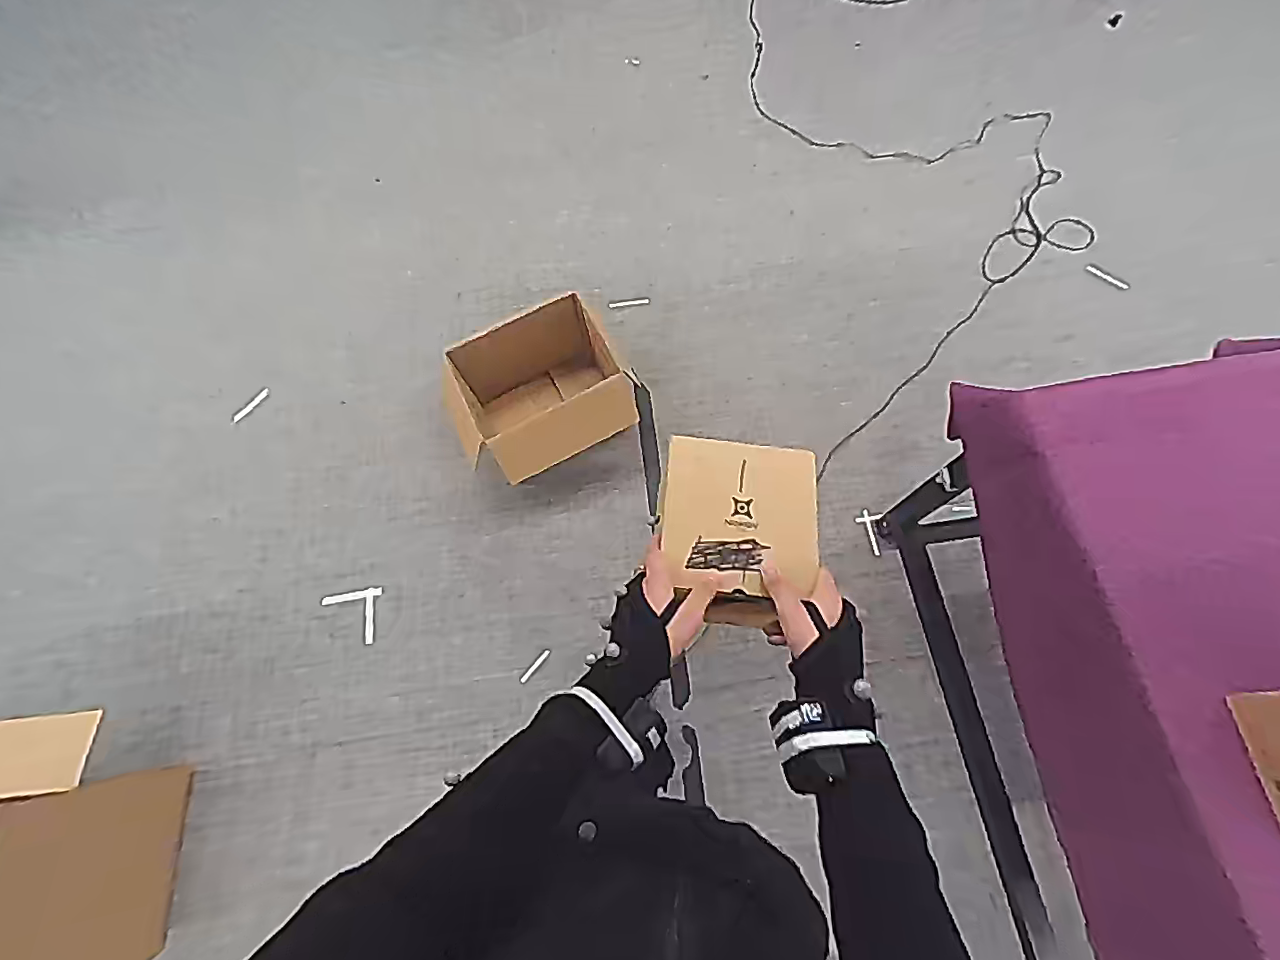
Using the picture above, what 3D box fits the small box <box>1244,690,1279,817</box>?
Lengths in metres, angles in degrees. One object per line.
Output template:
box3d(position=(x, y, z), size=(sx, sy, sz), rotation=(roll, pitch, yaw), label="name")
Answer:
box3d(position=(0.867, 0.328, 0.615), size=(0.179, 0.176, 0.168), rotation=(-4, 70, 1), label="small box")

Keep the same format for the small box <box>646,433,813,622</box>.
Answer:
box3d(position=(0.097, 0.066, 0.645), size=(0.168, 0.176, 0.179), rotation=(6, 65, 0), label="small box")
